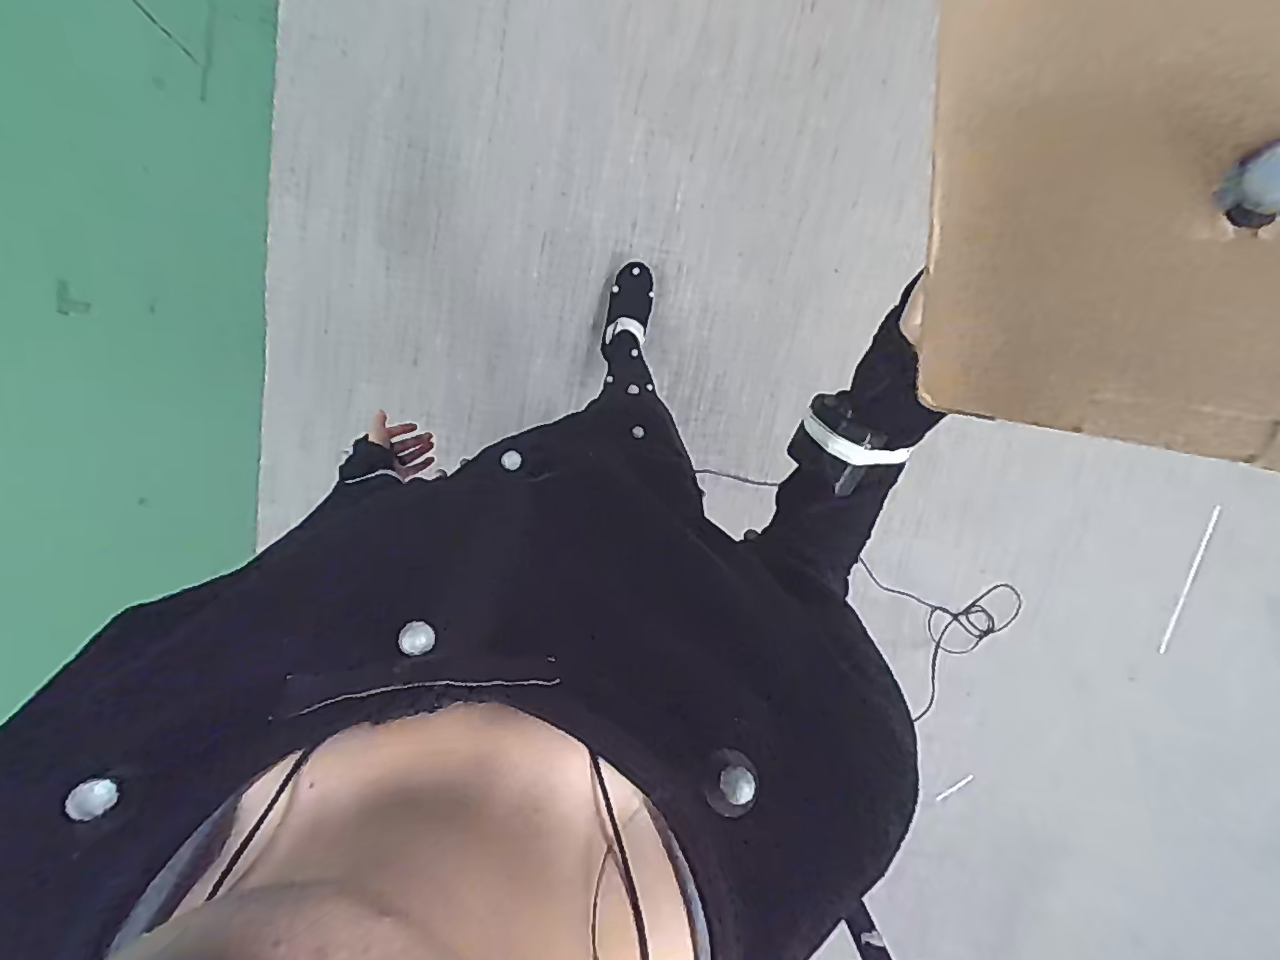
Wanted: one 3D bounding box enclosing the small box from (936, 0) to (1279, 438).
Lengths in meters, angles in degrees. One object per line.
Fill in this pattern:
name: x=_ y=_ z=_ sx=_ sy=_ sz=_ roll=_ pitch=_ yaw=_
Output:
small box: x=0.215 y=-0.131 z=0.169 sx=0.179 sy=0.168 sz=0.176 roll=-43 pitch=134 yaw=-26
